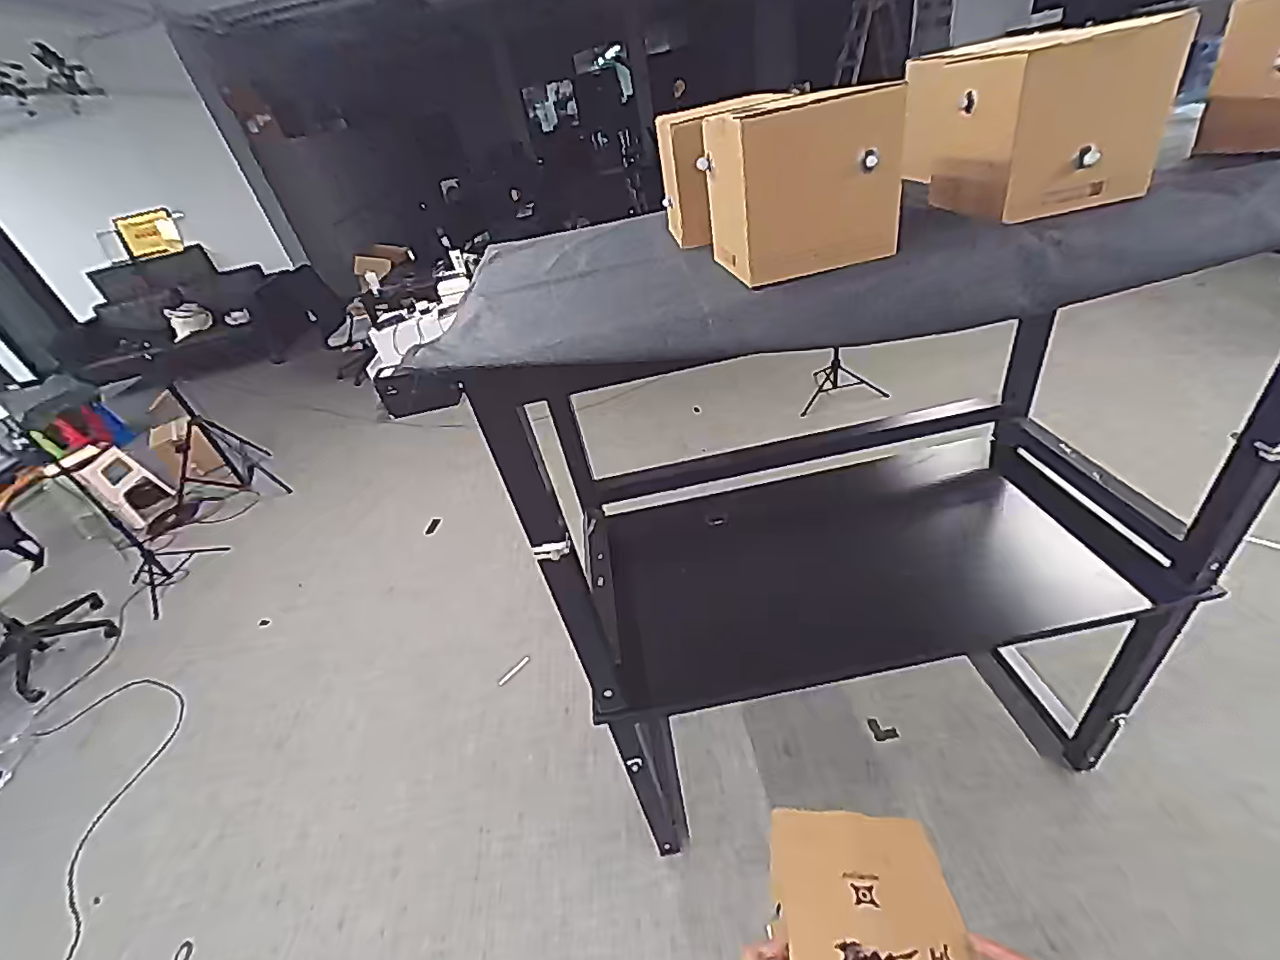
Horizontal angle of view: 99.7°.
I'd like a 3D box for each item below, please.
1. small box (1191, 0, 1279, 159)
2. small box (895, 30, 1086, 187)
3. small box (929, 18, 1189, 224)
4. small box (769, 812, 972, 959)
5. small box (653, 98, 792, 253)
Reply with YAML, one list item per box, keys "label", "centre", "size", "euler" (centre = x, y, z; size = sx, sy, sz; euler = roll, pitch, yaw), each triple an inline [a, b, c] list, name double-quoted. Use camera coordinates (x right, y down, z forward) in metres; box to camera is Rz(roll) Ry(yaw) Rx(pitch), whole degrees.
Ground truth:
- label: "small box"
  centre: [0.811, -0.482, 0.619]
  size: [0.168, 0.176, 0.179]
  euler: [-15, 30, -3]
- label: "small box"
  centre: [0.517, -0.559, 0.829]
  size: [0.168, 0.176, 0.179]
  euler: [-13, 36, -1]
- label: "small box"
  centre: [0.475, -0.422, 0.653]
  size: [0.168, 0.176, 0.179]
  euler: [-11, 35, 4]
- label: "small box"
  centre: [0.226, 0.491, 0.565]
  size: [0.168, 0.176, 0.179]
  euler: [-1, 17, 8]
- label: "small box"
  centre: [0.126, -0.472, 0.838]
  size: [0.179, 0.176, 0.168]
  euler: [-12, 36, 2]
